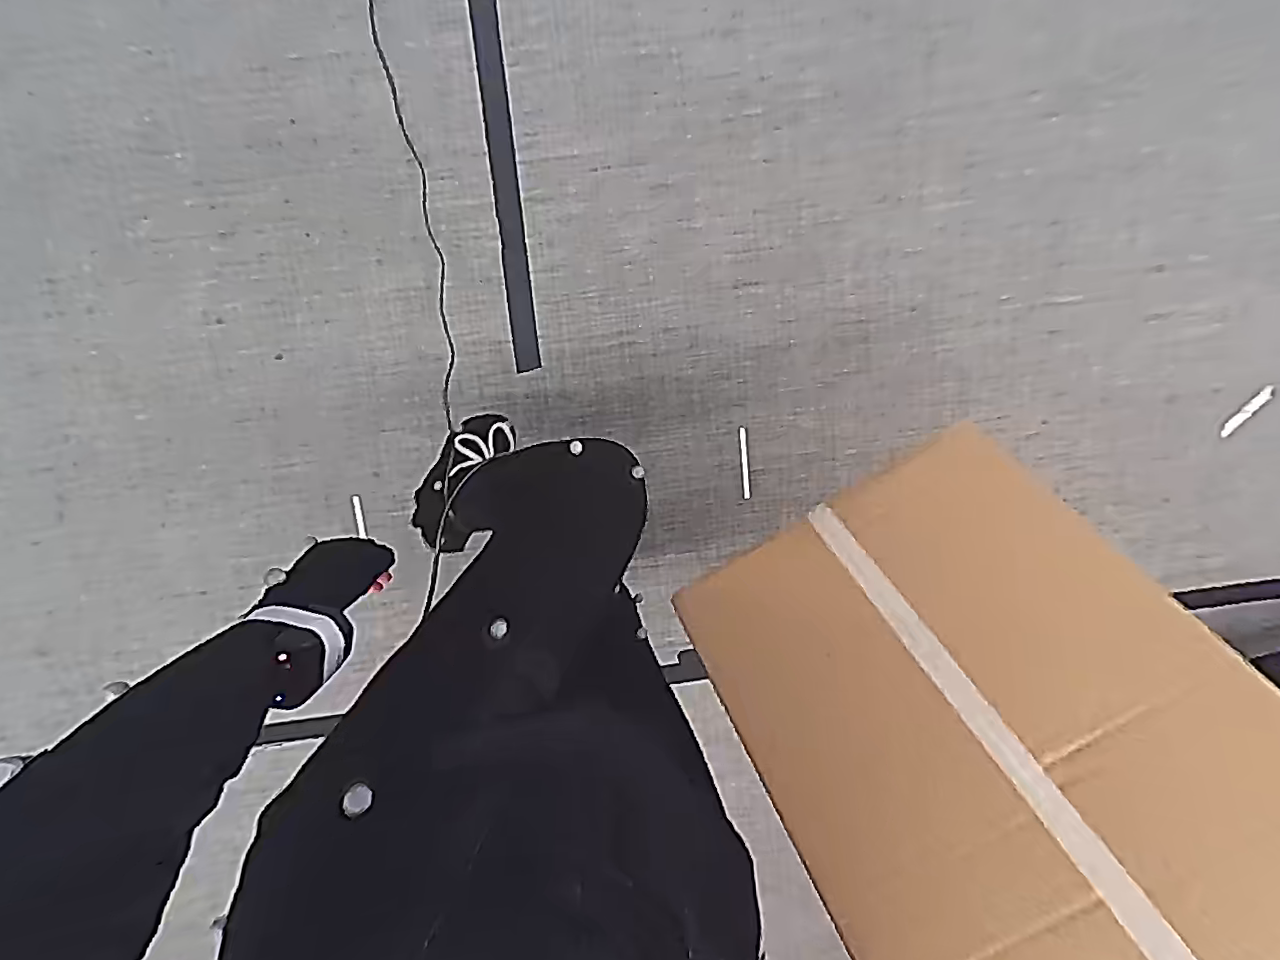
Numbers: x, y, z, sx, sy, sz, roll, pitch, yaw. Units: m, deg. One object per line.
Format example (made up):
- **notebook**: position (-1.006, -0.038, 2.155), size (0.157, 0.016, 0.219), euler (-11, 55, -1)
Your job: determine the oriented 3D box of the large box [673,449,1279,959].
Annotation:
- **large box**: position (0.286, 0.255, 0.510), size (0.320, 0.408, 0.320), euler (-32, 144, 4)
